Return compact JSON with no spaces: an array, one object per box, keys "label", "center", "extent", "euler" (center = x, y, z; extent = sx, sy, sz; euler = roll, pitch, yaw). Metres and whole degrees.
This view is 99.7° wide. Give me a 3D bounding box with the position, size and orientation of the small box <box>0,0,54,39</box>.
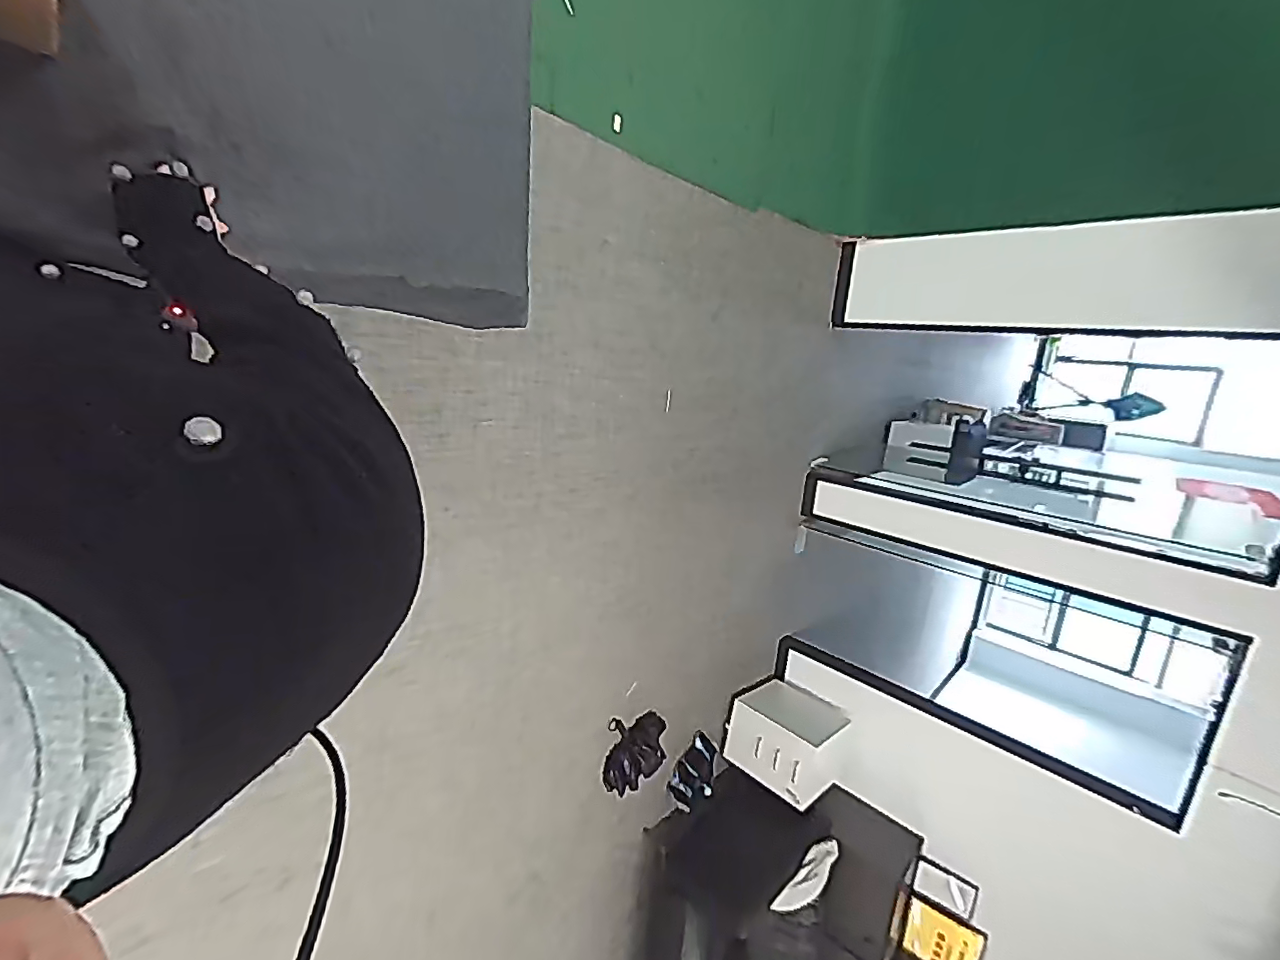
[{"label":"small box","center":[-0.557,-0.474,0.394],"extent":[0.168,0.176,0.179],"euler":[-7,109,-46]}]
